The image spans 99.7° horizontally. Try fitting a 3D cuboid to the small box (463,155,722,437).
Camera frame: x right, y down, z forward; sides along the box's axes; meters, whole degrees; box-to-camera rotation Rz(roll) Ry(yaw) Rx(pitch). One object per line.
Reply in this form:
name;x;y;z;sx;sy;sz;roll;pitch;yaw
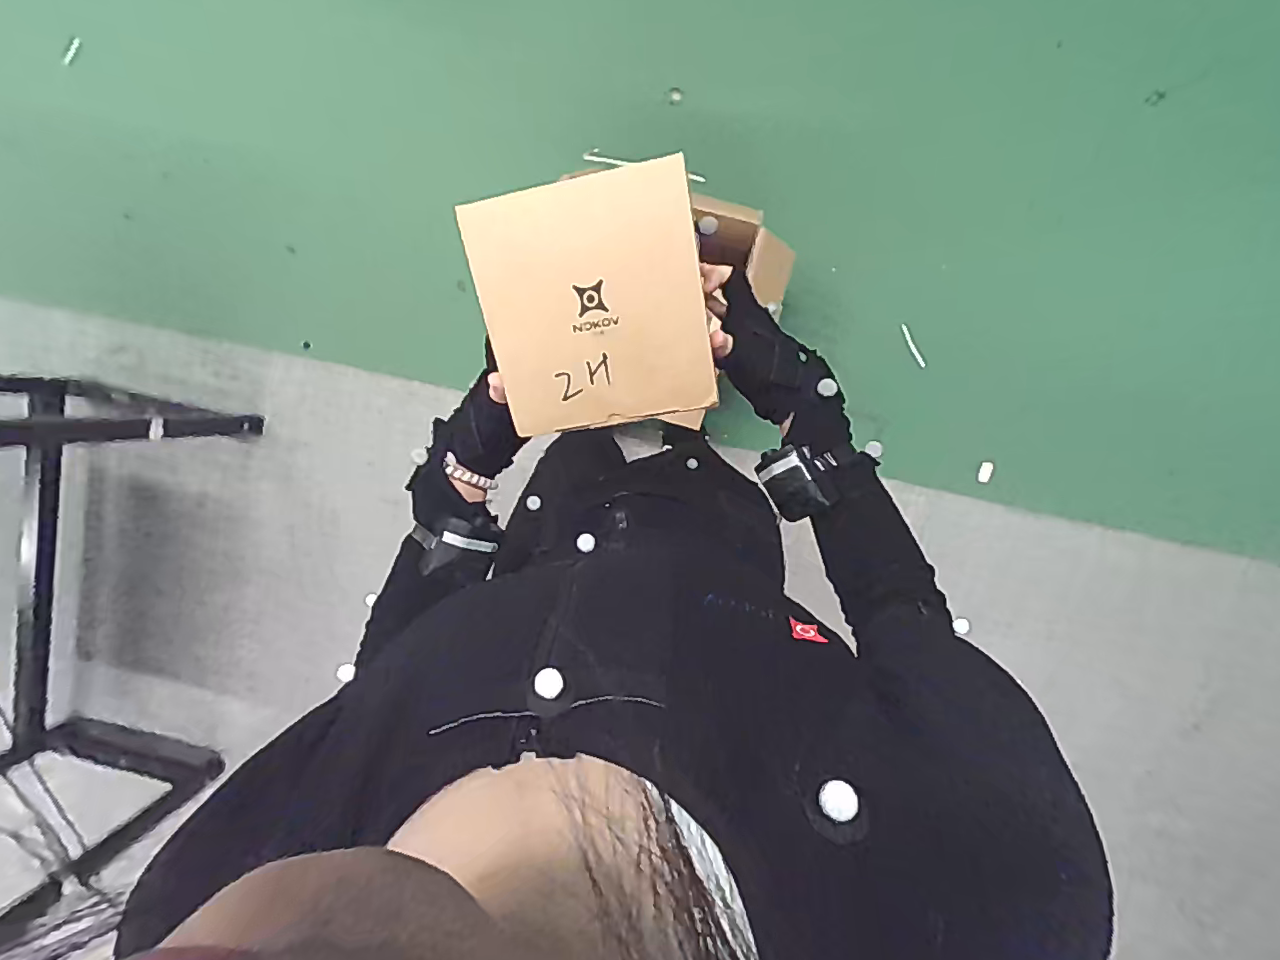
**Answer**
small box;-0.026;-0.154;0.473;0.168;0.176;0.179;-9;110;9
